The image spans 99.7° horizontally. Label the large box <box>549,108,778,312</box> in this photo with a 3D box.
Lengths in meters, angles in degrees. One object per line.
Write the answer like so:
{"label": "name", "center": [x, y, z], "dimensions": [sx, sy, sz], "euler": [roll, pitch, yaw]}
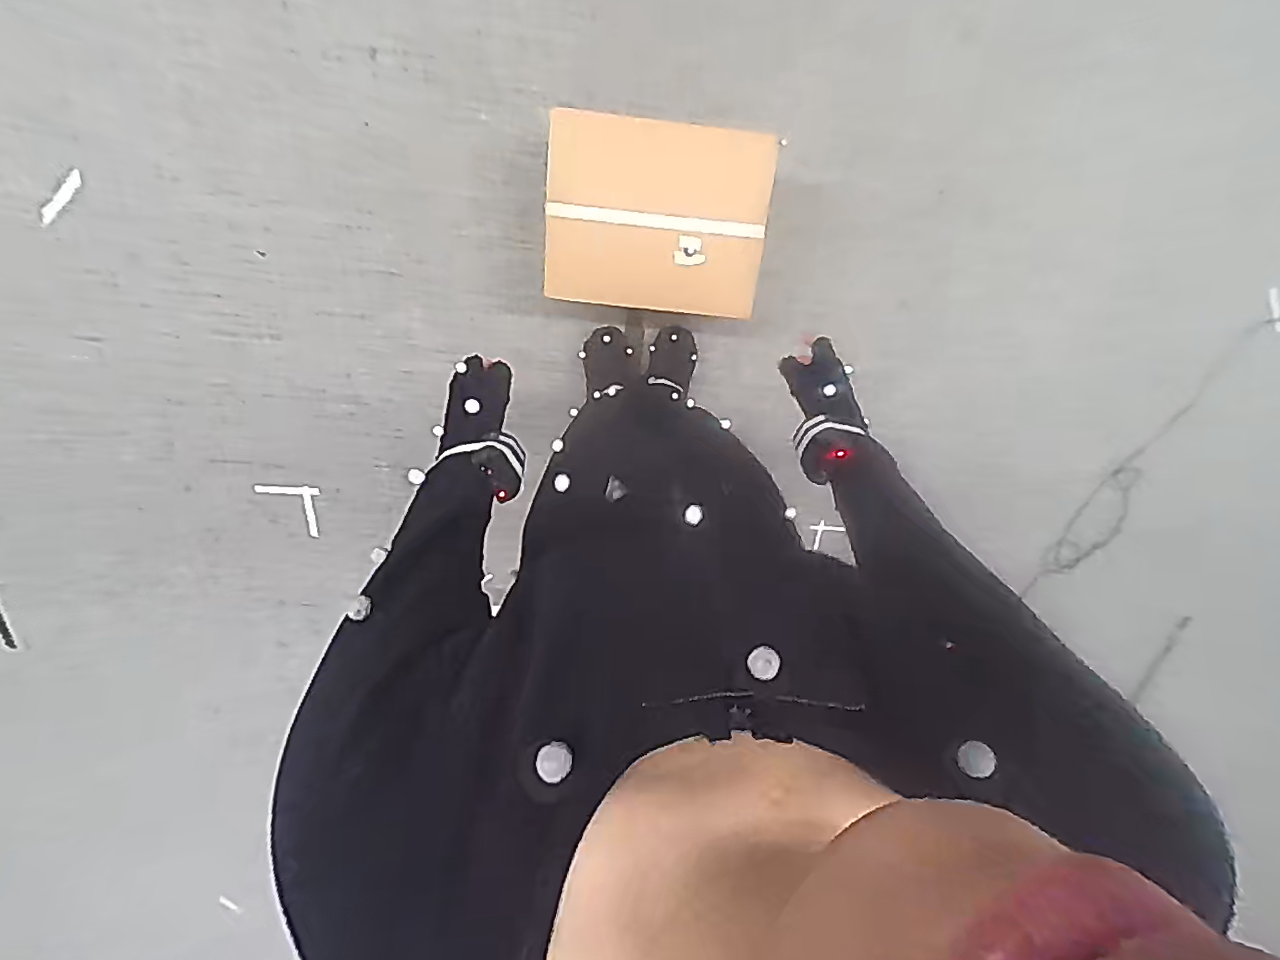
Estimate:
{"label": "large box", "center": [0.027, -0.539, 1.129], "dimensions": [0.408, 0.320, 0.320], "euler": [4, 113, -4]}
